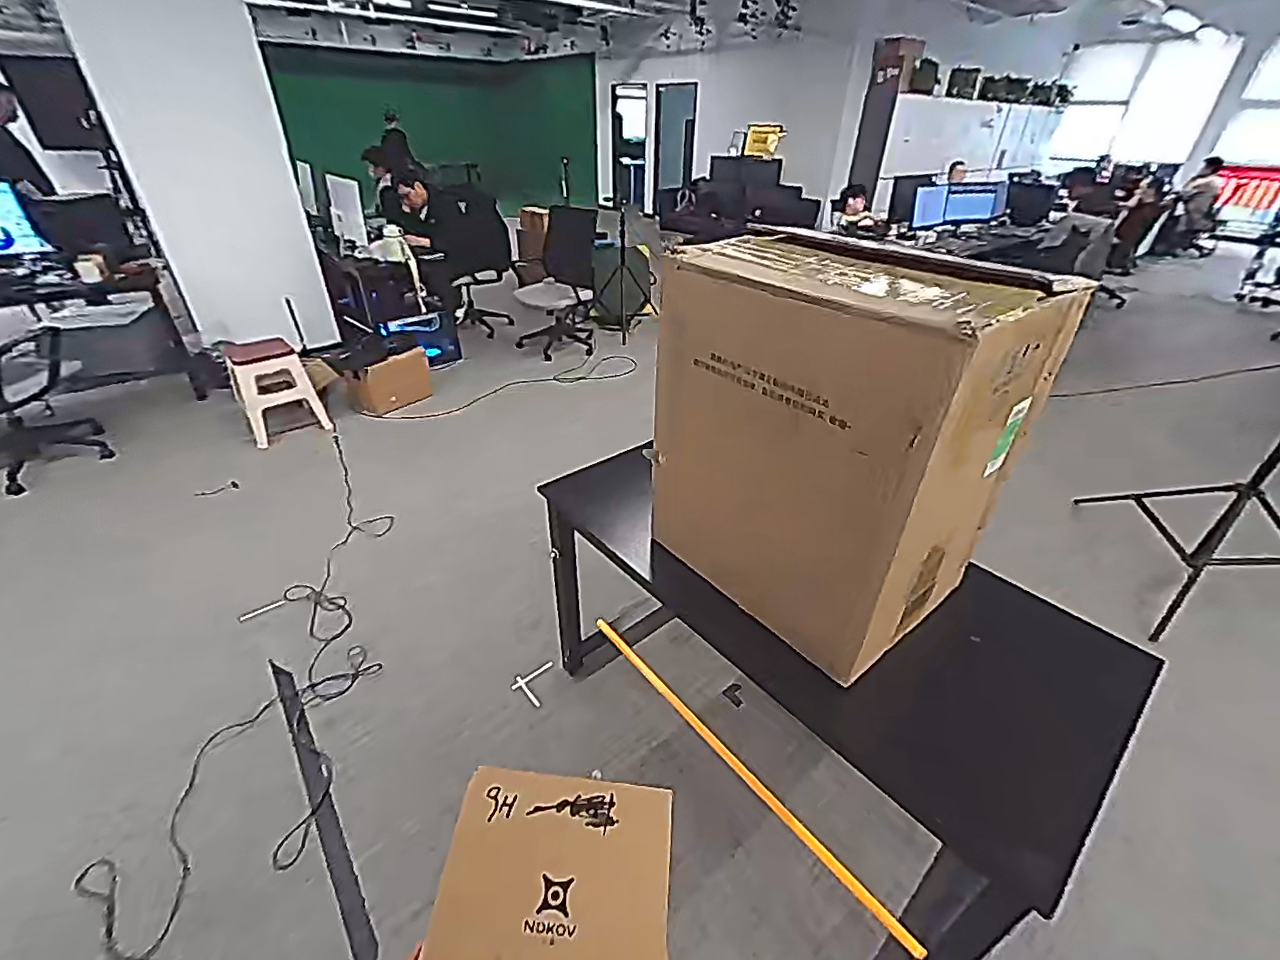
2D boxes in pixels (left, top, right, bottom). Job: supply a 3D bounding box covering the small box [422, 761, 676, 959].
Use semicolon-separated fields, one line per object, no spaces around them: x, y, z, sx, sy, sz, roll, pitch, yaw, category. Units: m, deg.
-0.065;0.357;0.439;0.168;0.176;0.179;7;45;1;small box
